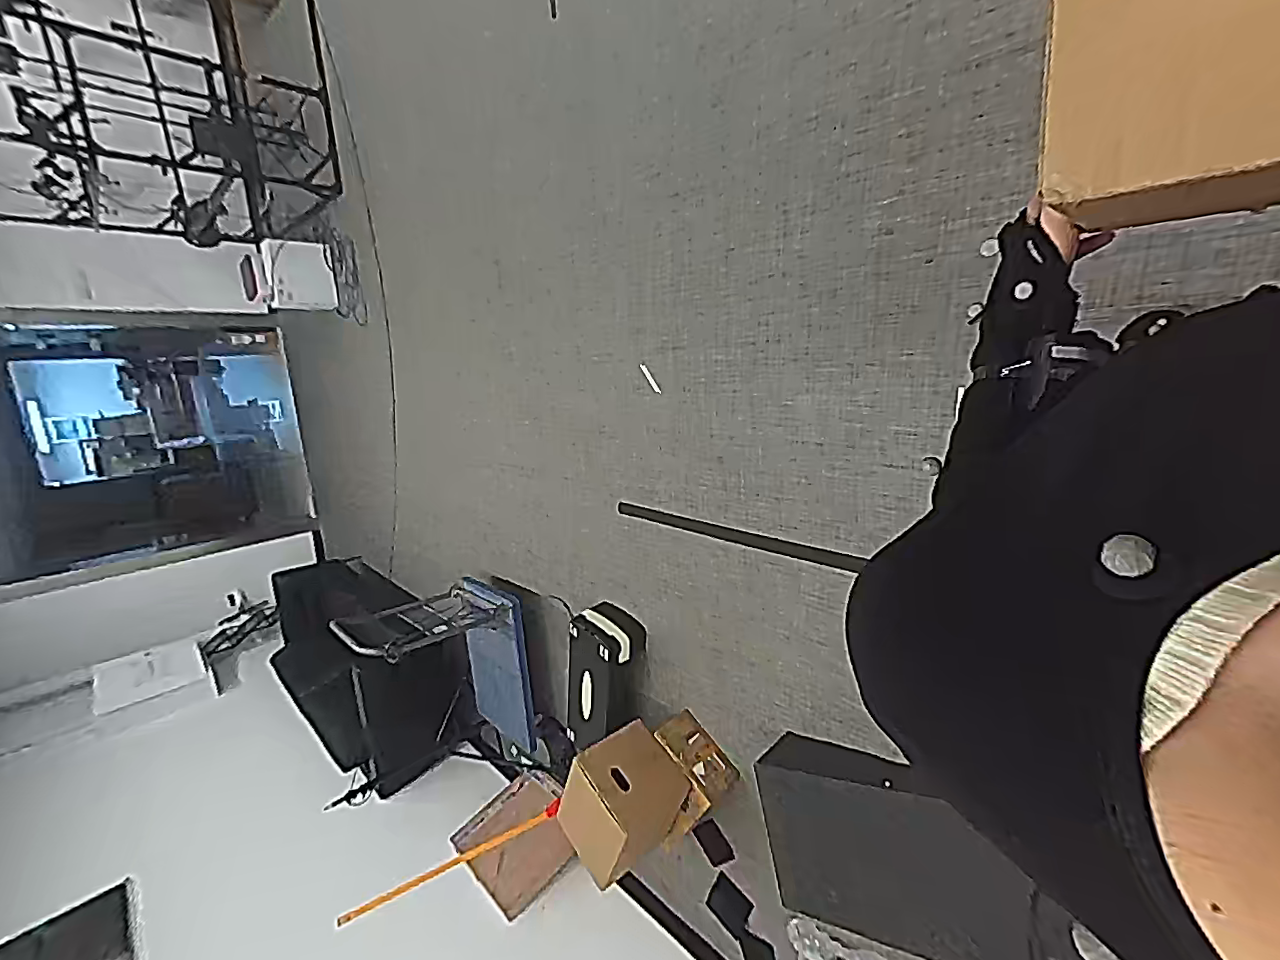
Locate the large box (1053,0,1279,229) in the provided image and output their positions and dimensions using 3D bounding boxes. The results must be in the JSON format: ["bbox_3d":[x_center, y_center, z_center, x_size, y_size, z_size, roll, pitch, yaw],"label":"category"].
[{"bbox_3d":[0.417,-0.304,0.195,0.408,0.320,0.320,7,112,40],"label":"large box"}]
